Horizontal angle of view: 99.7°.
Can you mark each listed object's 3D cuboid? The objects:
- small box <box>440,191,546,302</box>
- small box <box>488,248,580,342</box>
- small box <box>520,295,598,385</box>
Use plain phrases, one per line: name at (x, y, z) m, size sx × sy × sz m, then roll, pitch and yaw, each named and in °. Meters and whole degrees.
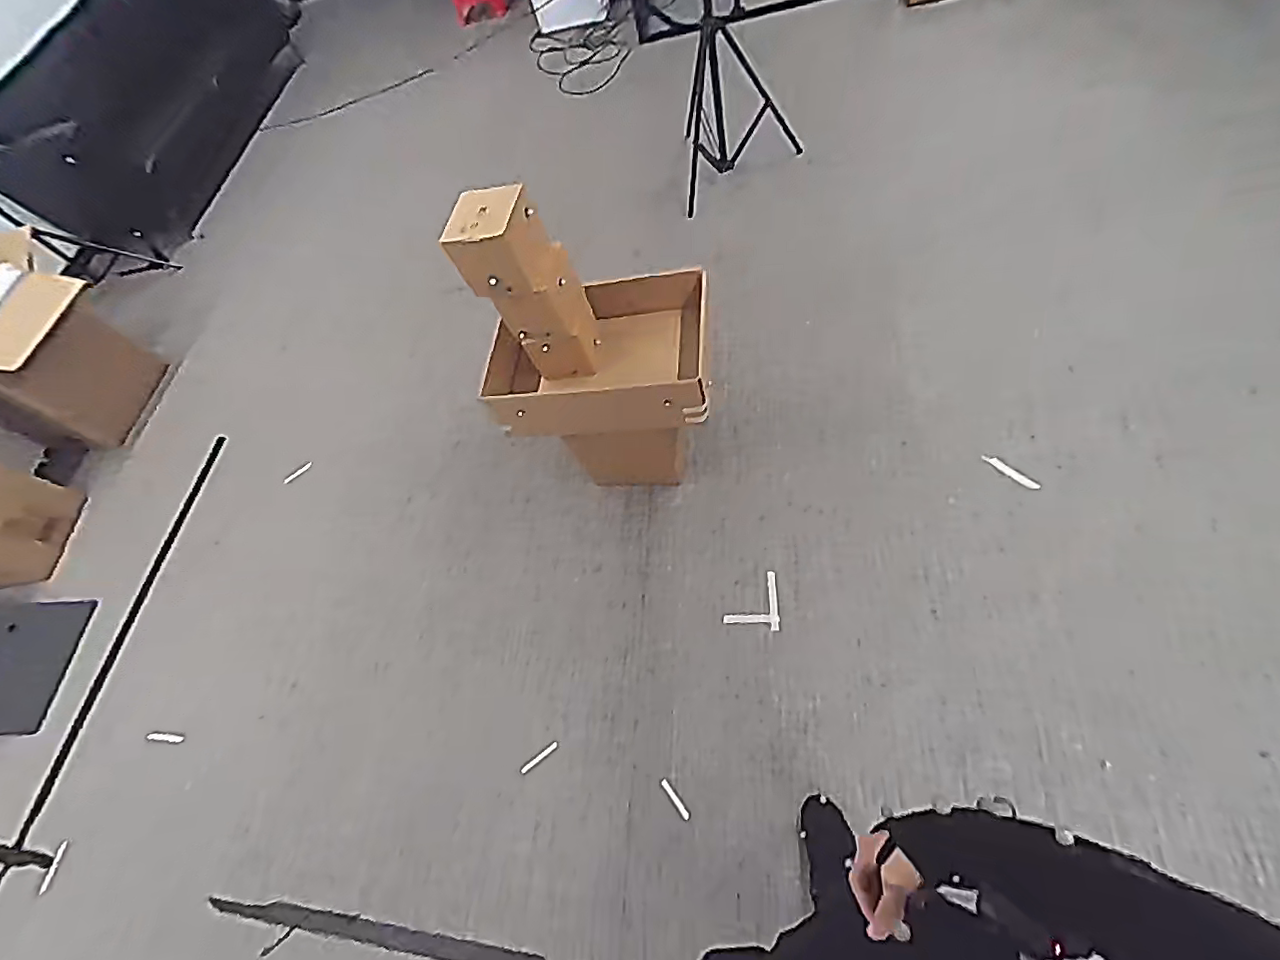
small box at (-0.340, -0.553, 1.294) m, size 0.168 × 0.176 × 0.179 m, roll 2°, pitch 64°, yaw 17°
small box at (-0.271, -0.478, 1.426) m, size 0.168 × 0.176 × 0.179 m, roll 1°, pitch 62°, yaw 16°
small box at (-0.227, -0.401, 1.565) m, size 0.168 × 0.176 × 0.179 m, roll -5°, pitch 61°, yaw 13°
